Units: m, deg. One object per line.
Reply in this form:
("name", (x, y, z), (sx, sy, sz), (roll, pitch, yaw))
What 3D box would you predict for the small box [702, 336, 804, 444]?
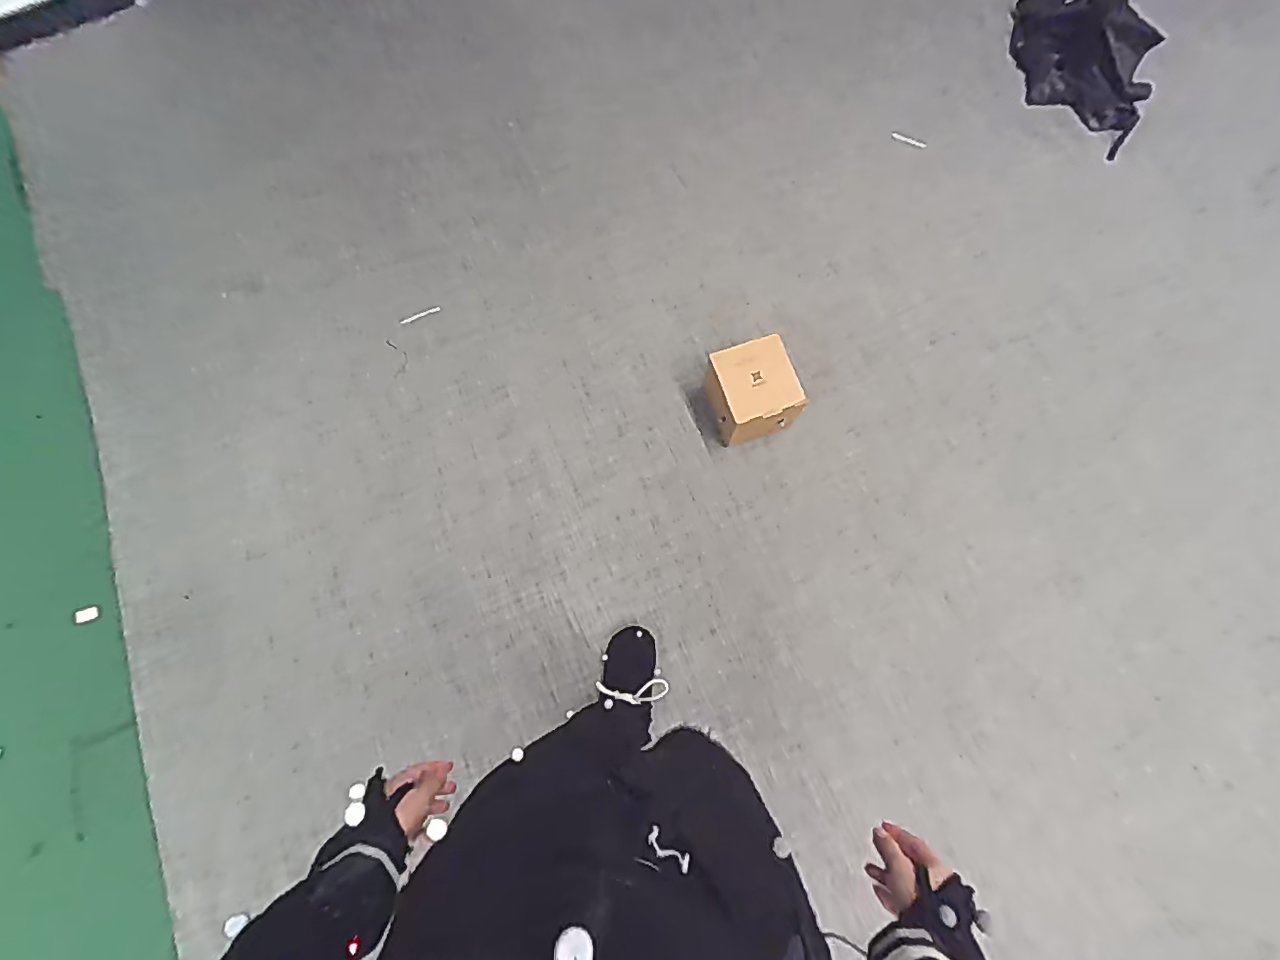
("small box", (0.251, -0.197, 1.245), (0.168, 0.176, 0.179), (-18, 75, -4))
